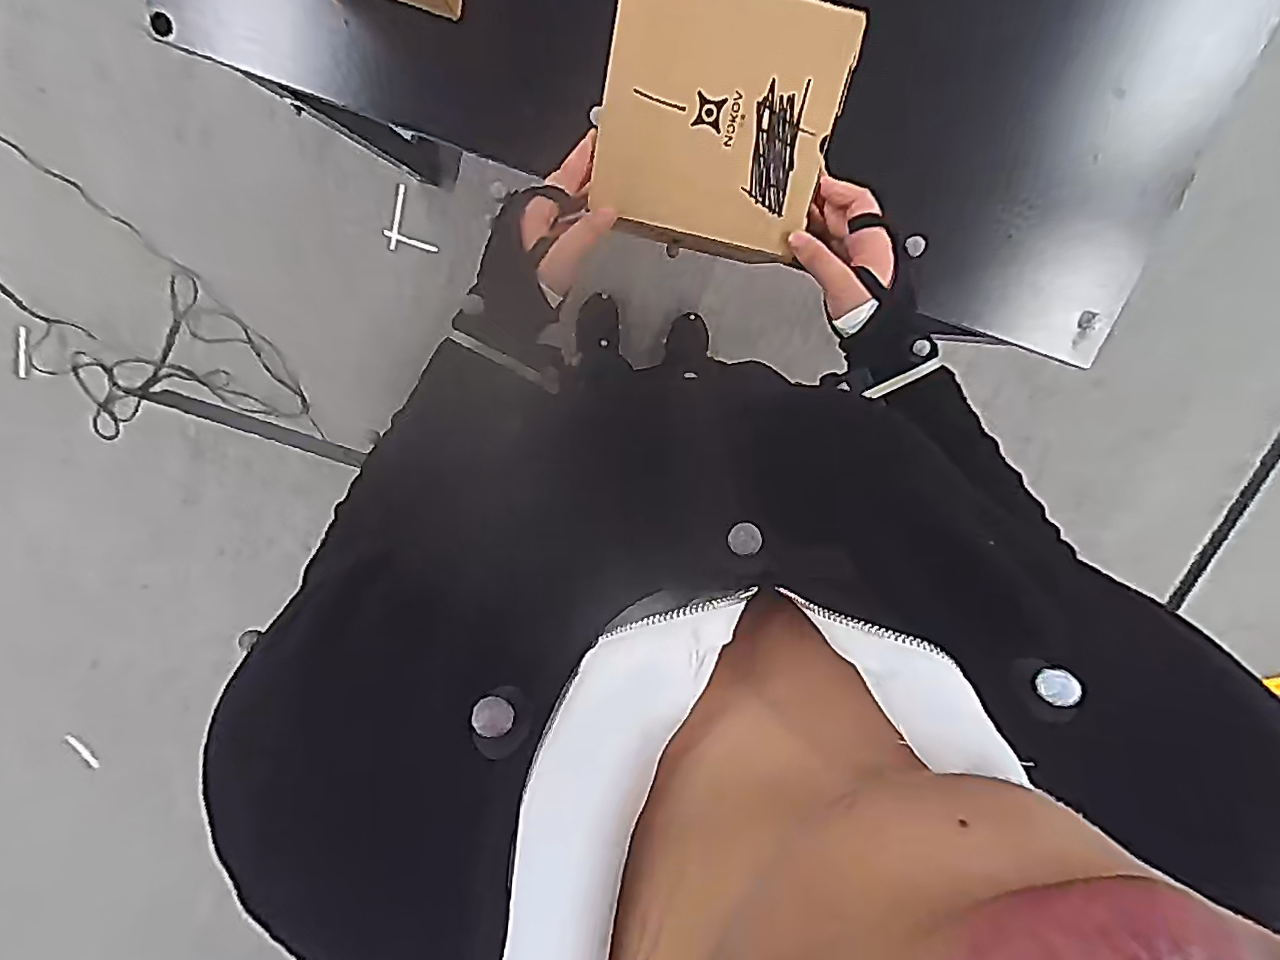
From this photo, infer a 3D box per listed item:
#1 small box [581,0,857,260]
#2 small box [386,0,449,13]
[{"bbox_3d":[0.053,-0.300,0.479,0.179,0.176,0.168,11,110,-5],"label":"small box"},{"bbox_3d":[-0.265,-0.589,0.503,0.179,0.176,0.168,15,105,-4],"label":"small box"}]
